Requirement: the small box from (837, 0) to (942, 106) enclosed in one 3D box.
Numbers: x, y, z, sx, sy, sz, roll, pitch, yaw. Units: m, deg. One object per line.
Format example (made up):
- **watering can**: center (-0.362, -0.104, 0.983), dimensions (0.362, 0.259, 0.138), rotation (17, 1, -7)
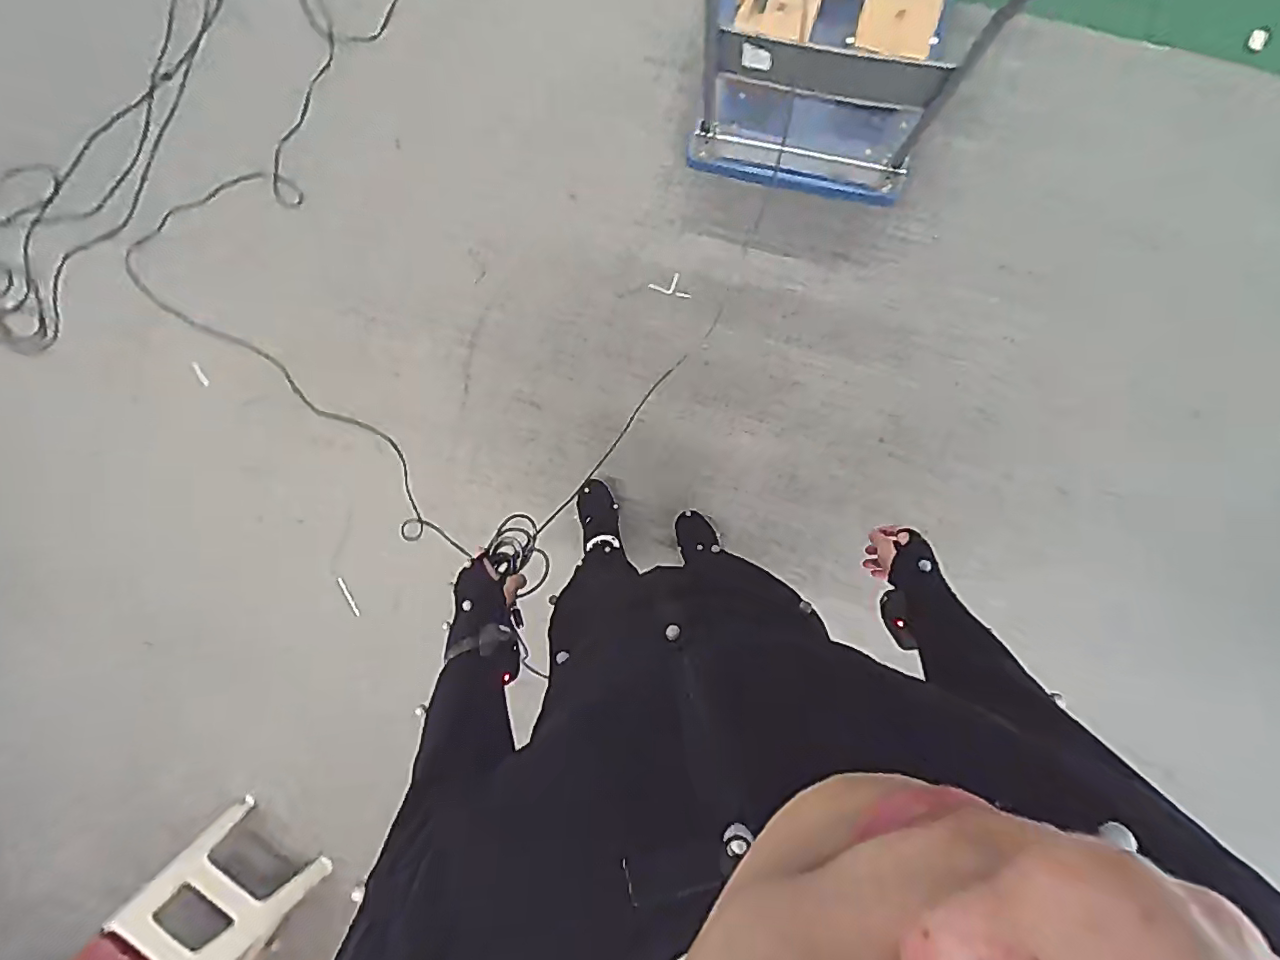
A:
- **small box**: center (0.590, -1.050, 1.294), dimensions (0.168, 0.176, 0.179), rotation (16, 94, 5)
